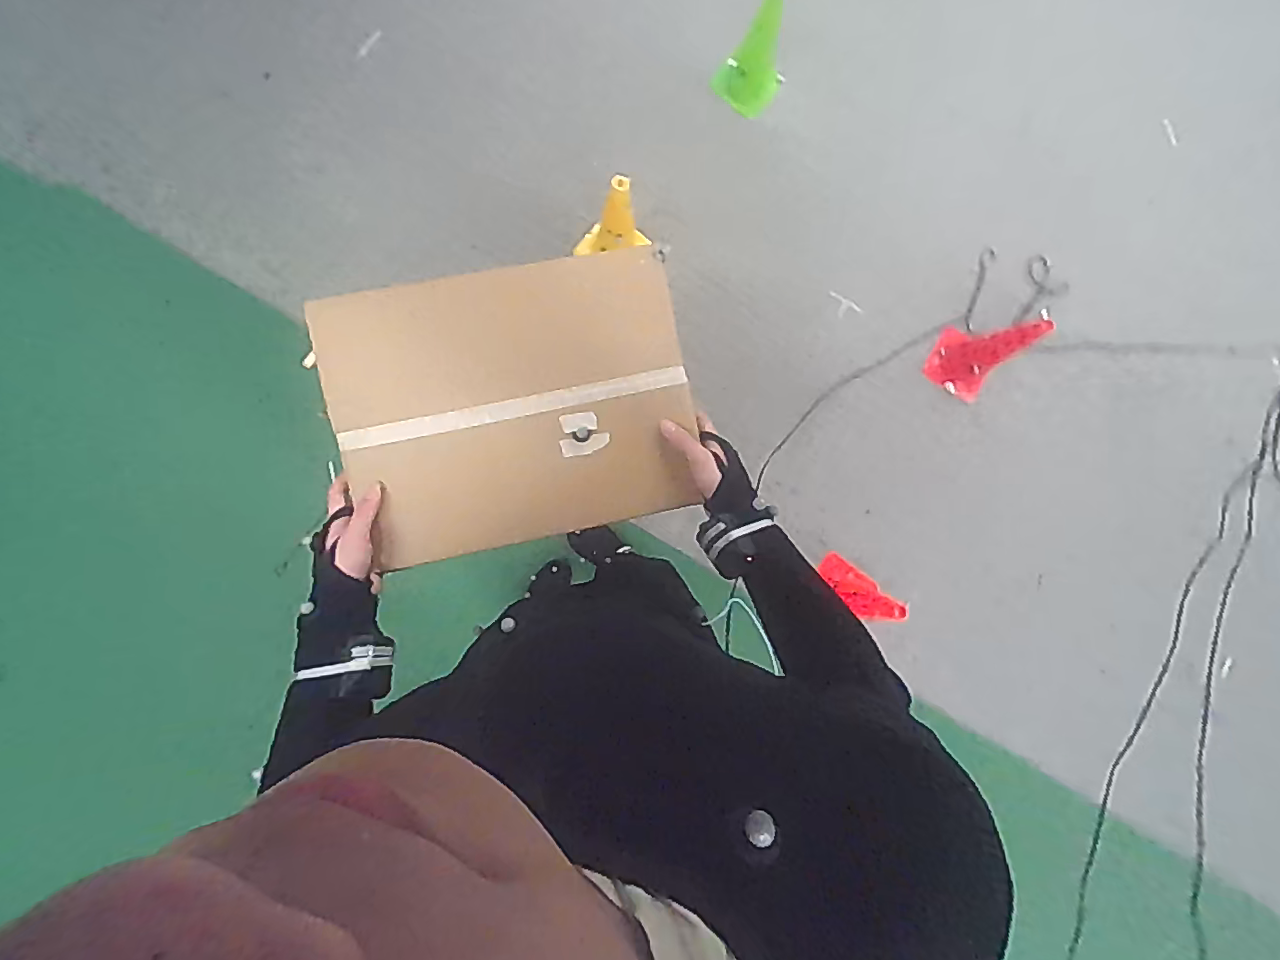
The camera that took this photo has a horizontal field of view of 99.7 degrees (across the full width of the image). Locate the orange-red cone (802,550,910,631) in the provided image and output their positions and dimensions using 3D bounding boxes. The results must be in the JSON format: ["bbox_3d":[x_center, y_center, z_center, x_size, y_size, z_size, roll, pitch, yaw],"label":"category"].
[{"bbox_3d":[0.646,0.337,1.530,0.199,0.360,0.198,38,84,-3],"label":"orange-red cone"}]

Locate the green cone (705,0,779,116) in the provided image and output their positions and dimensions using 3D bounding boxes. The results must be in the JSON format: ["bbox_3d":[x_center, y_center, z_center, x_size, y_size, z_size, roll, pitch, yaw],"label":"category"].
[{"bbox_3d":[0.353,-1.357,1.643,0.200,0.368,0.202,36,85,-1],"label":"green cone"}]

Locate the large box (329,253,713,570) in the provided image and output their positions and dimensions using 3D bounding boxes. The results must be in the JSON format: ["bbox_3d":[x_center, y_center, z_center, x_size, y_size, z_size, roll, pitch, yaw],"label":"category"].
[{"bbox_3d":[-0.149,-0.091,0.786,0.408,0.320,0.320,-12,96,-6],"label":"large box"}]
